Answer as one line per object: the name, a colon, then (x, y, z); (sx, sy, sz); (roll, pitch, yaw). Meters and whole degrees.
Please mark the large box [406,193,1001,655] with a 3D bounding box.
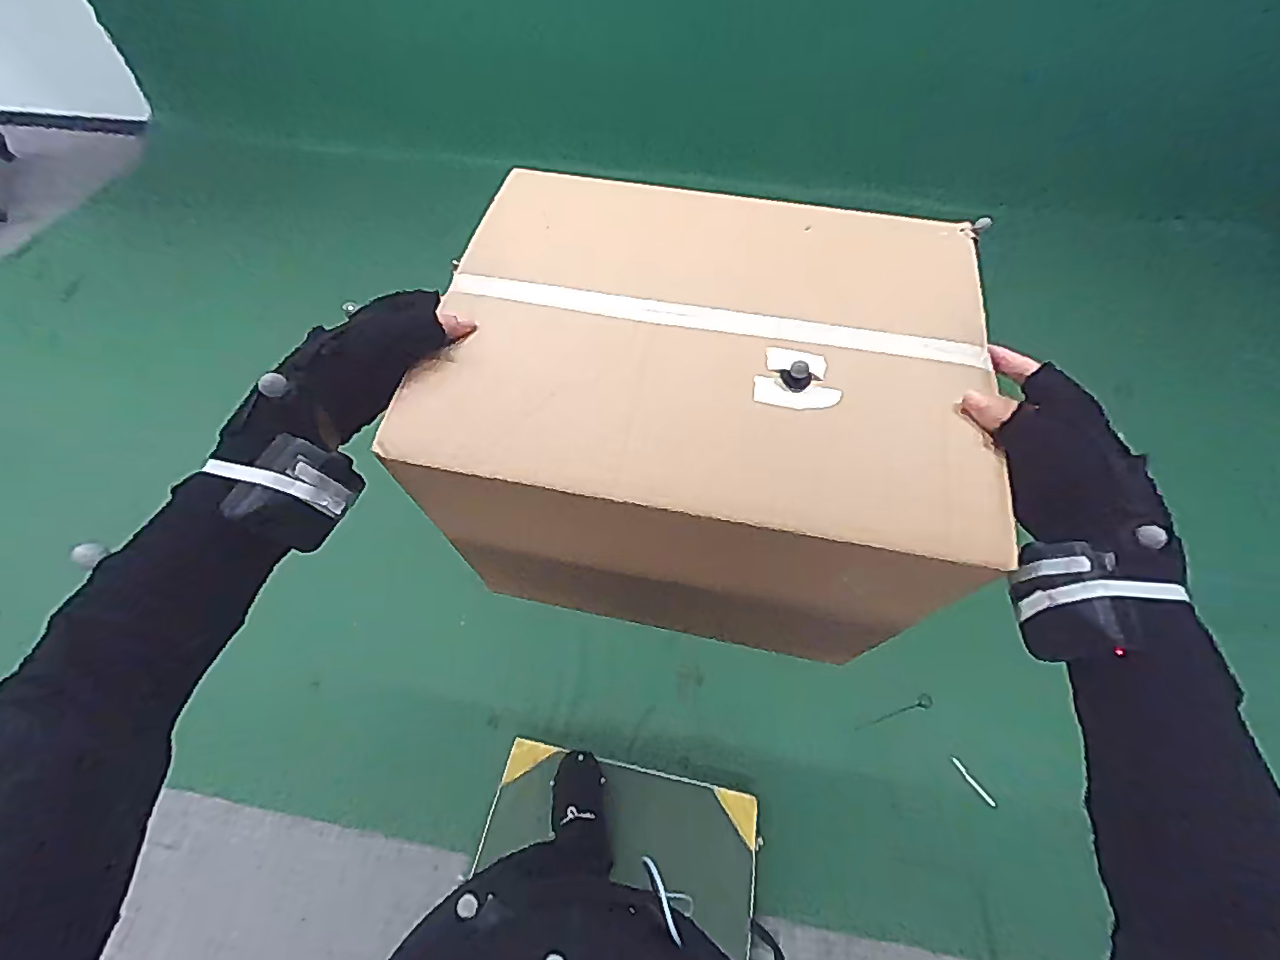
large box: (0.056, -0.039, 0.553); (0.408, 0.320, 0.320); (10, 62, 5)
